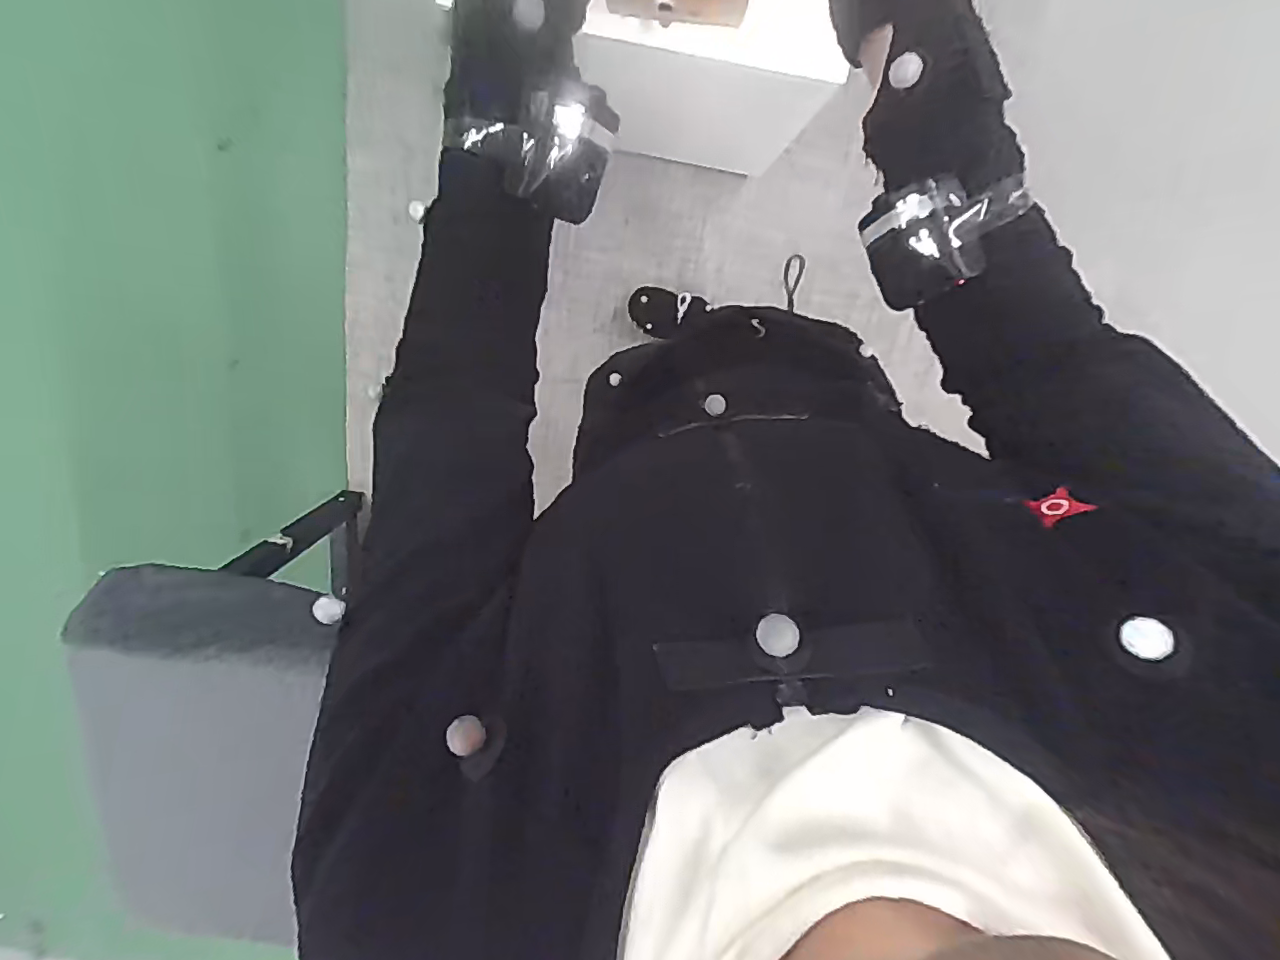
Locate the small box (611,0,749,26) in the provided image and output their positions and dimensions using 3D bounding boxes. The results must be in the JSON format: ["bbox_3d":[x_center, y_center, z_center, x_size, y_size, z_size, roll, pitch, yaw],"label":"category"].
[{"bbox_3d":[0.045,-0.604,0.541,0.168,0.176,0.179,6,110,2],"label":"small box"}]
